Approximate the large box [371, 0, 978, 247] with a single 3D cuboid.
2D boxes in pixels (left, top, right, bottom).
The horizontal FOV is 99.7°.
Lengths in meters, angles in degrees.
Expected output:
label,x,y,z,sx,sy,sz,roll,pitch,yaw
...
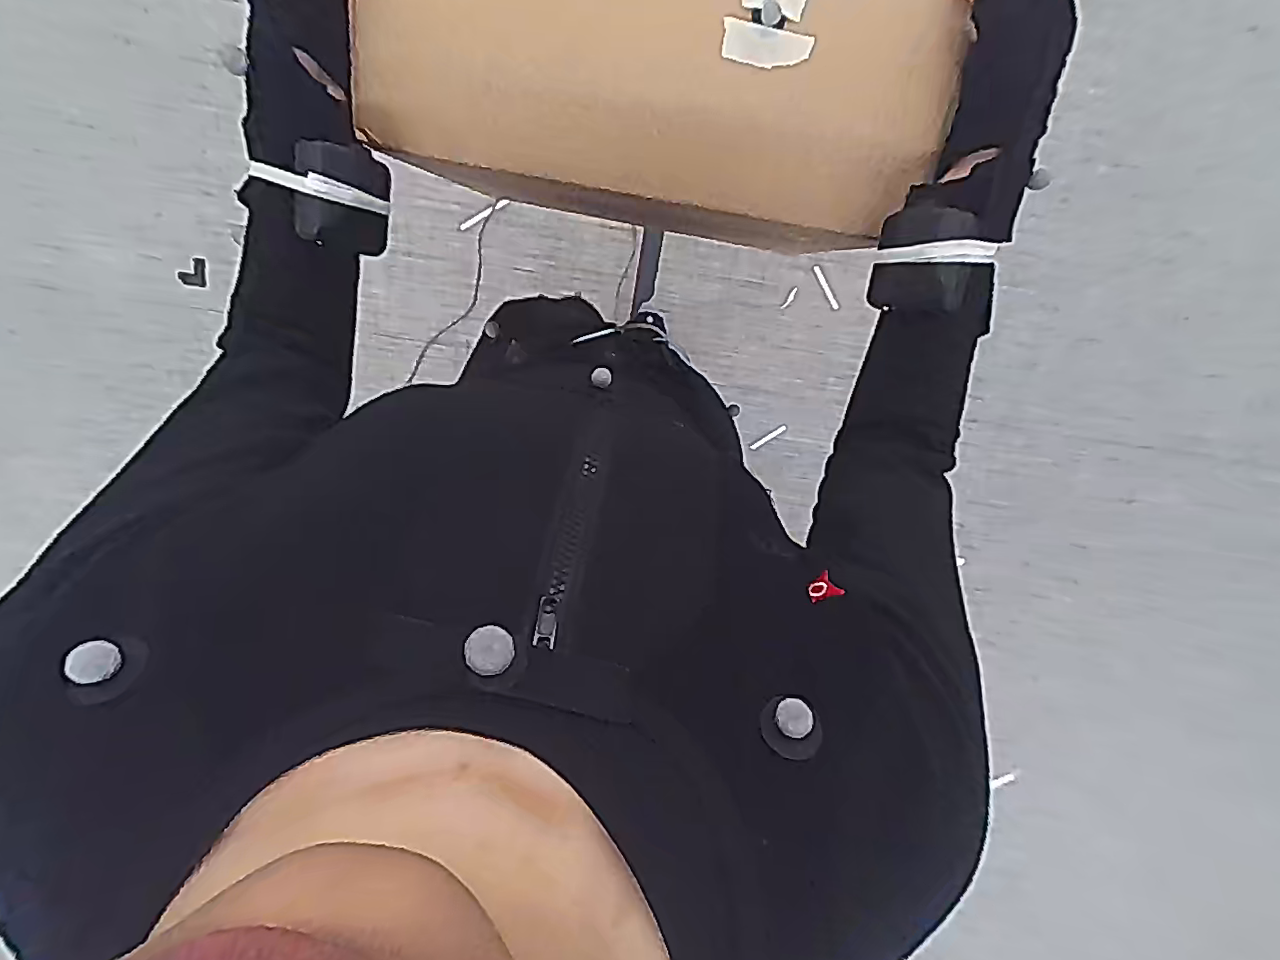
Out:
label,x,y,z,sx,sy,sz,roll,pitch,yaw
large box,0.027,-0.406,0.481,0.408,0.320,0.320,9,112,-4
